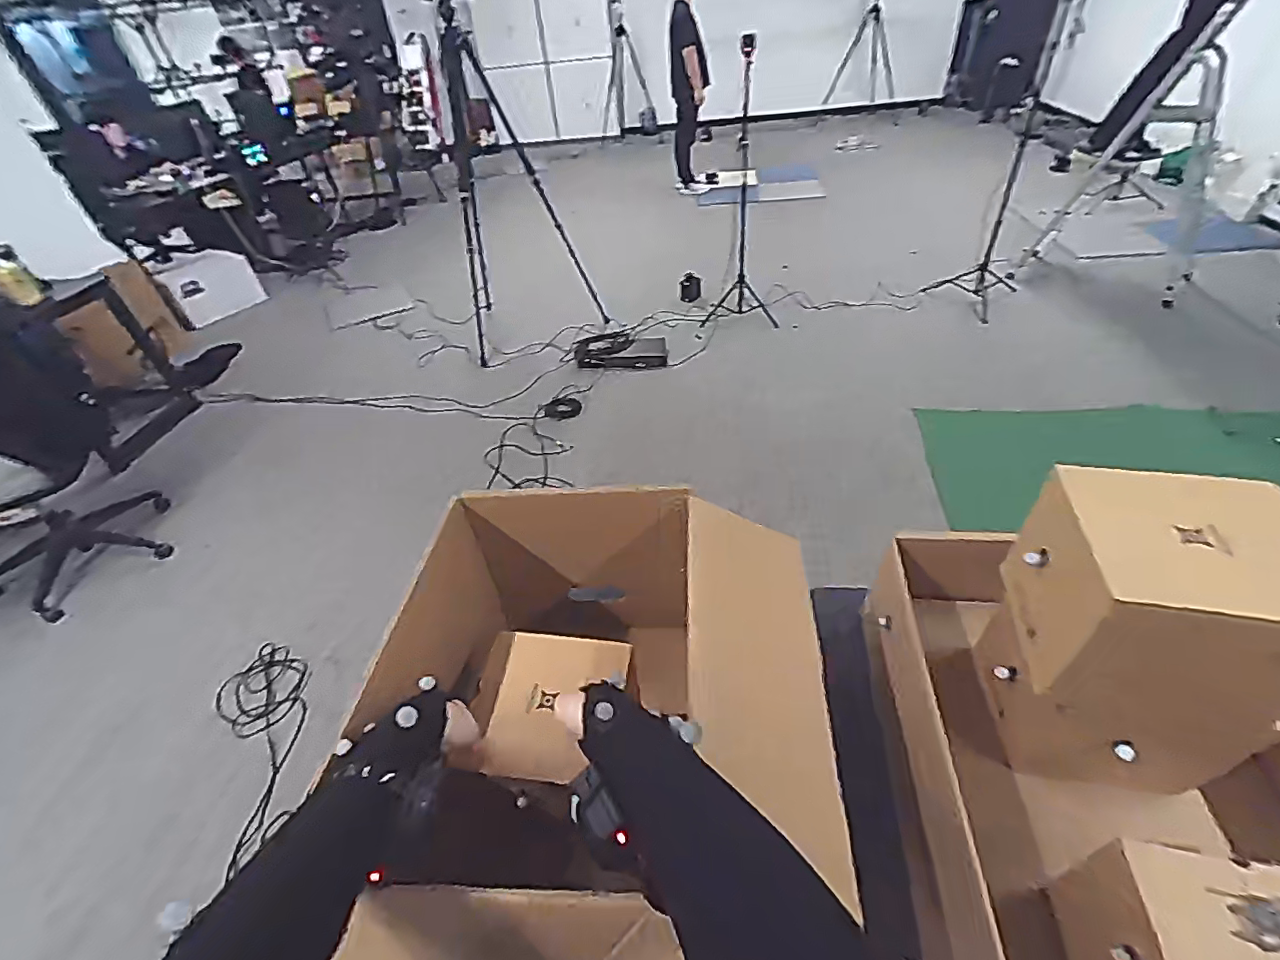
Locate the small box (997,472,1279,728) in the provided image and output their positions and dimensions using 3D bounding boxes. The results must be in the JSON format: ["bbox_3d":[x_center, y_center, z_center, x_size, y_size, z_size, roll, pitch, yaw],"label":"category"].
[{"bbox_3d":[0.474,0.114,0.522,0.179,0.176,0.168,6,44,14],"label":"small box"}]
